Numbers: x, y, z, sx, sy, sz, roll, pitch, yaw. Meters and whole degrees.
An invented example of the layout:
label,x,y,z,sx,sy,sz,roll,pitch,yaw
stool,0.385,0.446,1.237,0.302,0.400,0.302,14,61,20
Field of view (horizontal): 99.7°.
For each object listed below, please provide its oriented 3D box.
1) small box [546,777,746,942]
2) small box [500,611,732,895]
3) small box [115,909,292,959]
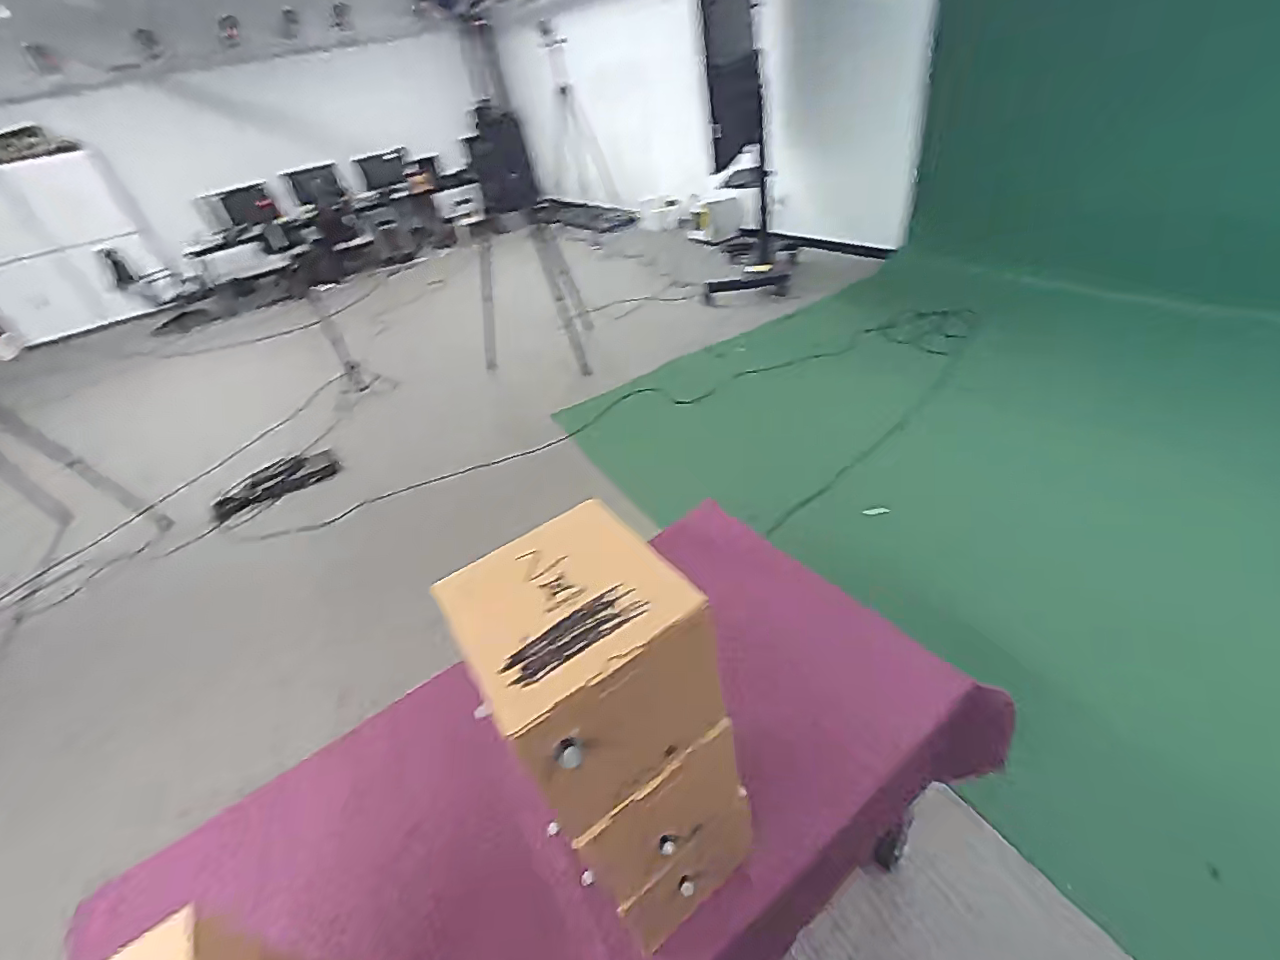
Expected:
label,x,y,z,sx,sy,sz,roll,pitch,yaw
small box,0.015,0.412,0.668,0.179,0.176,0.168,-32,41,-22
small box,-0.021,0.283,0.574,0.168,0.176,0.179,-30,40,-22
small box,-0.378,0.490,0.407,0.179,0.176,0.168,-30,40,-23
